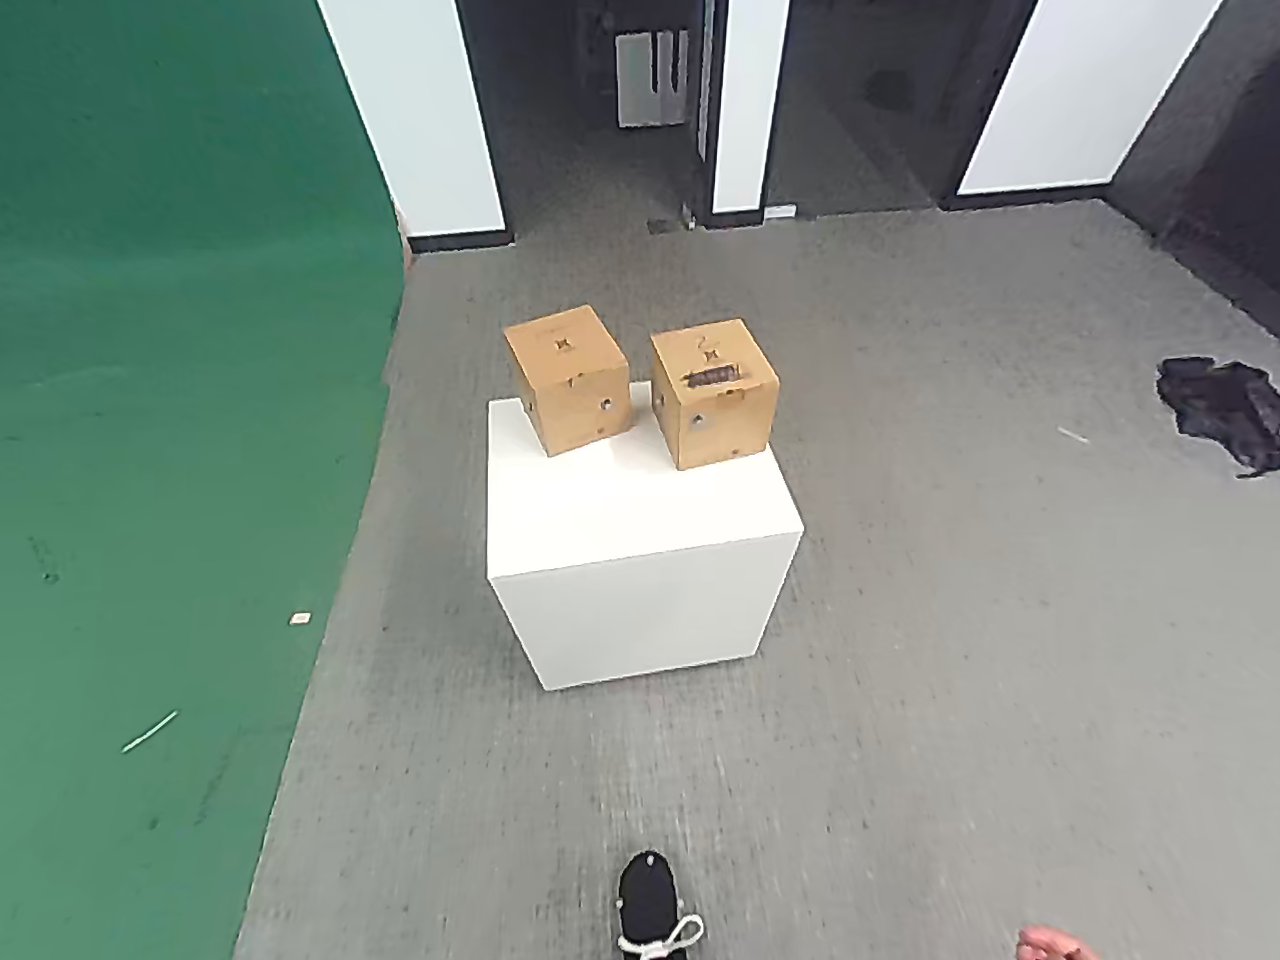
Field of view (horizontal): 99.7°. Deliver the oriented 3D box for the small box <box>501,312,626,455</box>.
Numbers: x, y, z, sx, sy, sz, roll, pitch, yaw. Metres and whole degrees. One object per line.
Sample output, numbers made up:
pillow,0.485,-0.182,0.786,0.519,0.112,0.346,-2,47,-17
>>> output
small box,-0.130,-0.165,0.966,0.168,0.176,0.179,-21,54,-16
